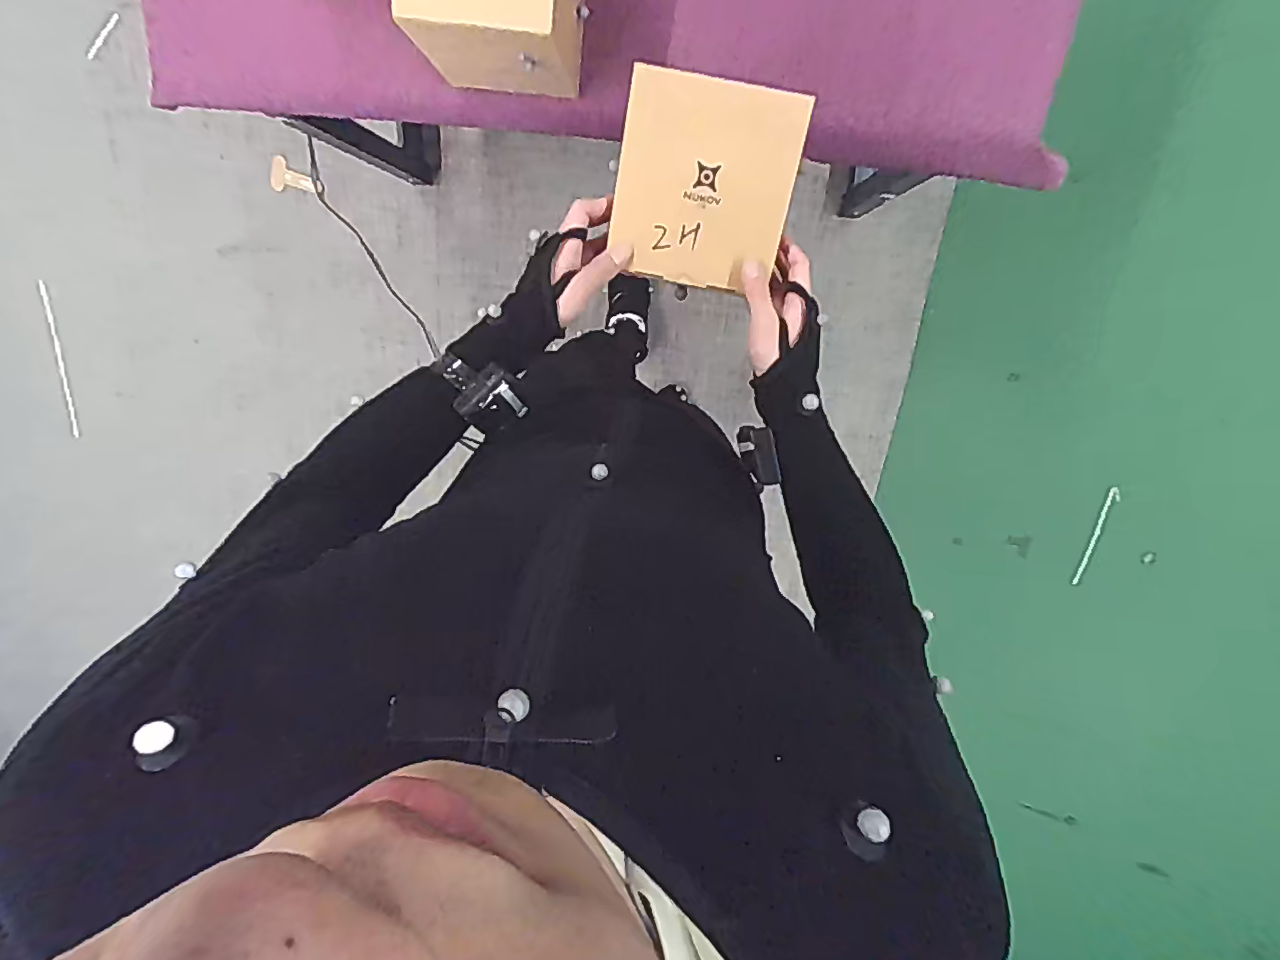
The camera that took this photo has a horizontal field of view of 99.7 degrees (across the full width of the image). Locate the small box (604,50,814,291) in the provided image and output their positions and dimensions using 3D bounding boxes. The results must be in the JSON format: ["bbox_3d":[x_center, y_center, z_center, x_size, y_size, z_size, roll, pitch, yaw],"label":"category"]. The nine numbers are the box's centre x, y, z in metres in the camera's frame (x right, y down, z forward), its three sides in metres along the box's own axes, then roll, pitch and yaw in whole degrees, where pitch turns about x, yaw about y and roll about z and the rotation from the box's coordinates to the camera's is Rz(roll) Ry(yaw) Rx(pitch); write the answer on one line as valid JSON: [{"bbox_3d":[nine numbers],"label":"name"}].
[{"bbox_3d":[0.065,-0.310,0.581,0.168,0.176,0.179,12,109,0],"label":"small box"}]
